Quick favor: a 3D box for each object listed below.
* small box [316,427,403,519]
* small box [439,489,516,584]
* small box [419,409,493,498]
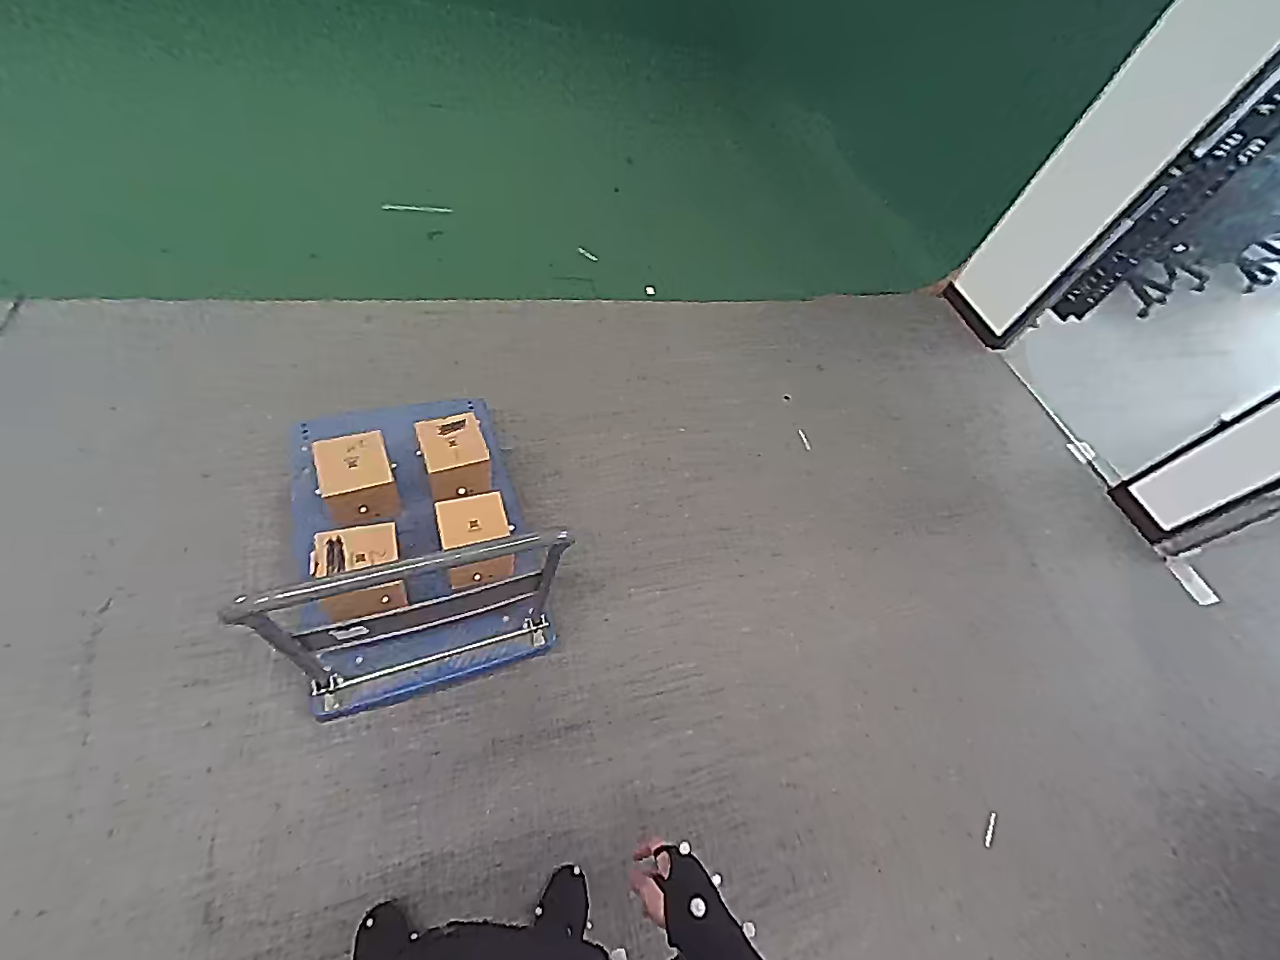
[{"bbox_3d":[-0.749,-0.011,1.453,0.168,0.176,0.179,-14,62,-24],"label":"small box"},{"bbox_3d":[-0.432,0.150,1.433,0.168,0.176,0.179,-10,61,-21],"label":"small box"},{"bbox_3d":[-0.526,-0.073,1.552,0.168,0.176,0.179,-15,64,-22],"label":"small box"}]
